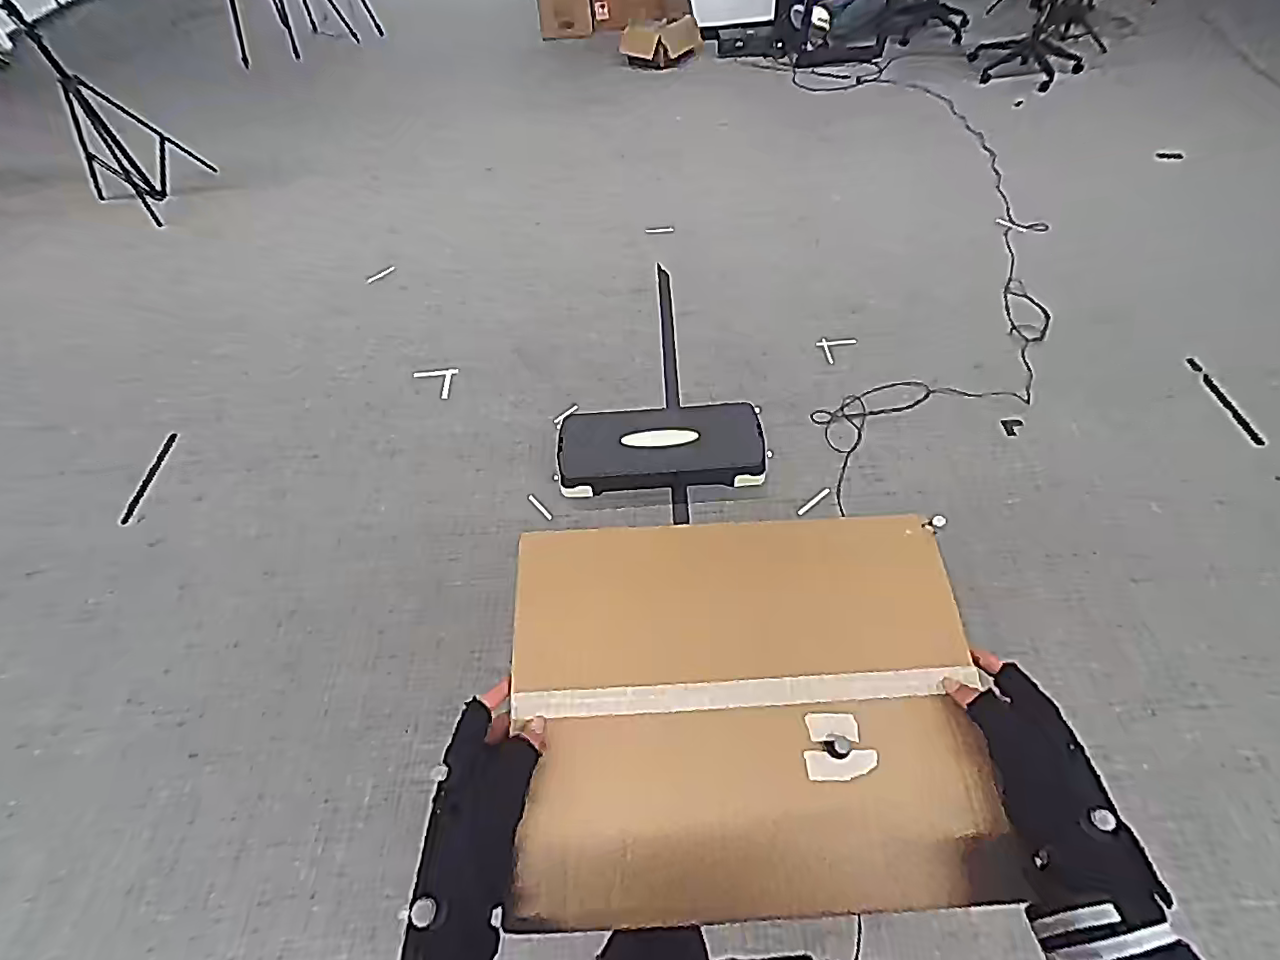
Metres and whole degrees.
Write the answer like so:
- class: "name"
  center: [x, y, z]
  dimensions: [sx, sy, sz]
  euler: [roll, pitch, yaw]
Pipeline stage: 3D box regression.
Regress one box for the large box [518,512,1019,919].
- class: "large box"
  center: [0.090, 0.248, 0.616]
  dimensions: [0.408, 0.320, 0.320]
  euler: [-3, 65, -2]
